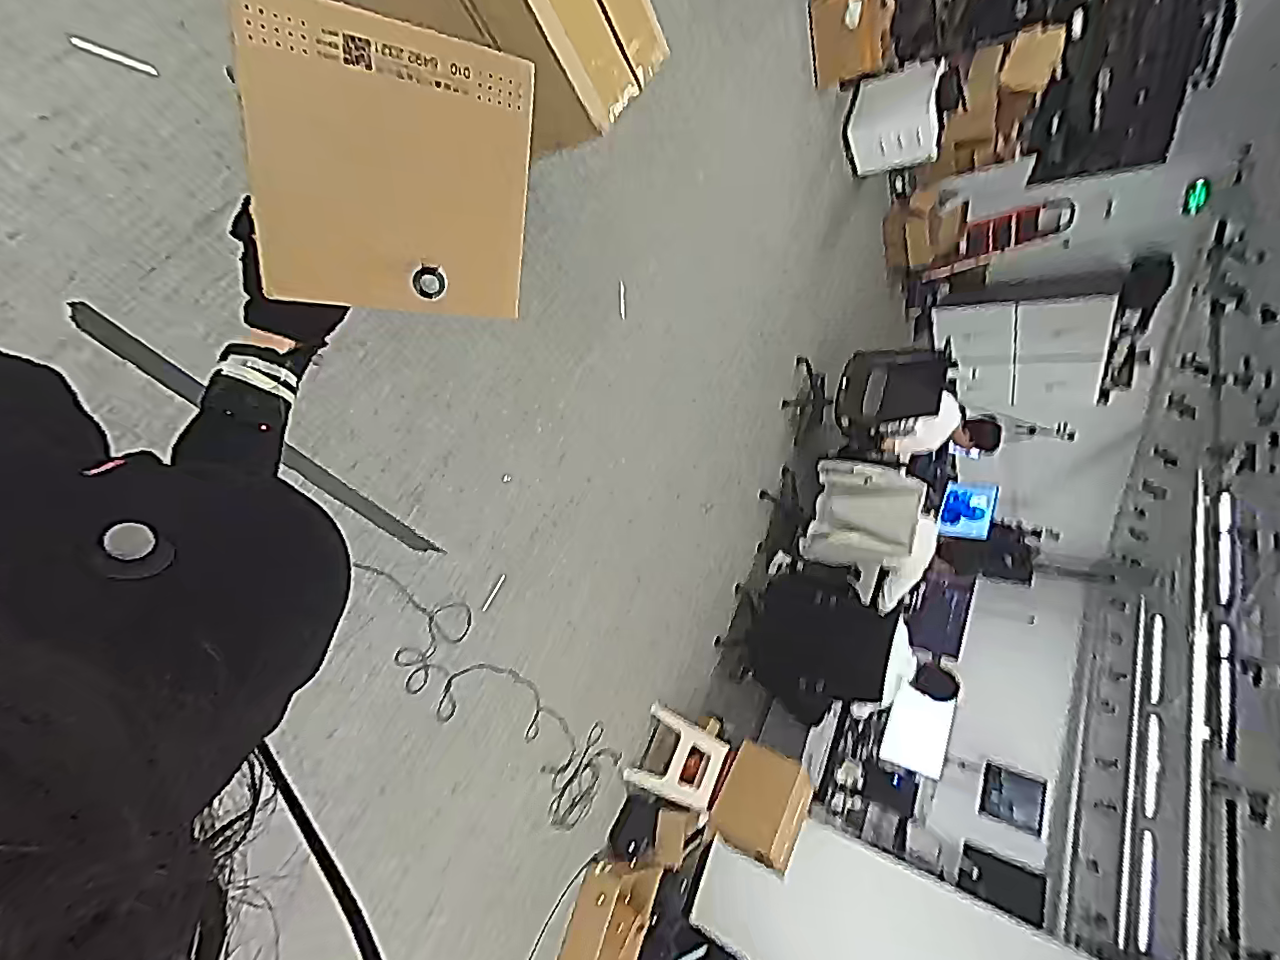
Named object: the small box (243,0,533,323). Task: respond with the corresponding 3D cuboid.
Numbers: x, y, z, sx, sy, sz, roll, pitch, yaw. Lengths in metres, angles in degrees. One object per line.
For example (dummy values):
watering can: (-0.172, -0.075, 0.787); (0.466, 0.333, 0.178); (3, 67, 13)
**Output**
small box: (-0.186, -0.233, 0.415); (0.168, 0.179, 0.176); (-1, 118, -26)
